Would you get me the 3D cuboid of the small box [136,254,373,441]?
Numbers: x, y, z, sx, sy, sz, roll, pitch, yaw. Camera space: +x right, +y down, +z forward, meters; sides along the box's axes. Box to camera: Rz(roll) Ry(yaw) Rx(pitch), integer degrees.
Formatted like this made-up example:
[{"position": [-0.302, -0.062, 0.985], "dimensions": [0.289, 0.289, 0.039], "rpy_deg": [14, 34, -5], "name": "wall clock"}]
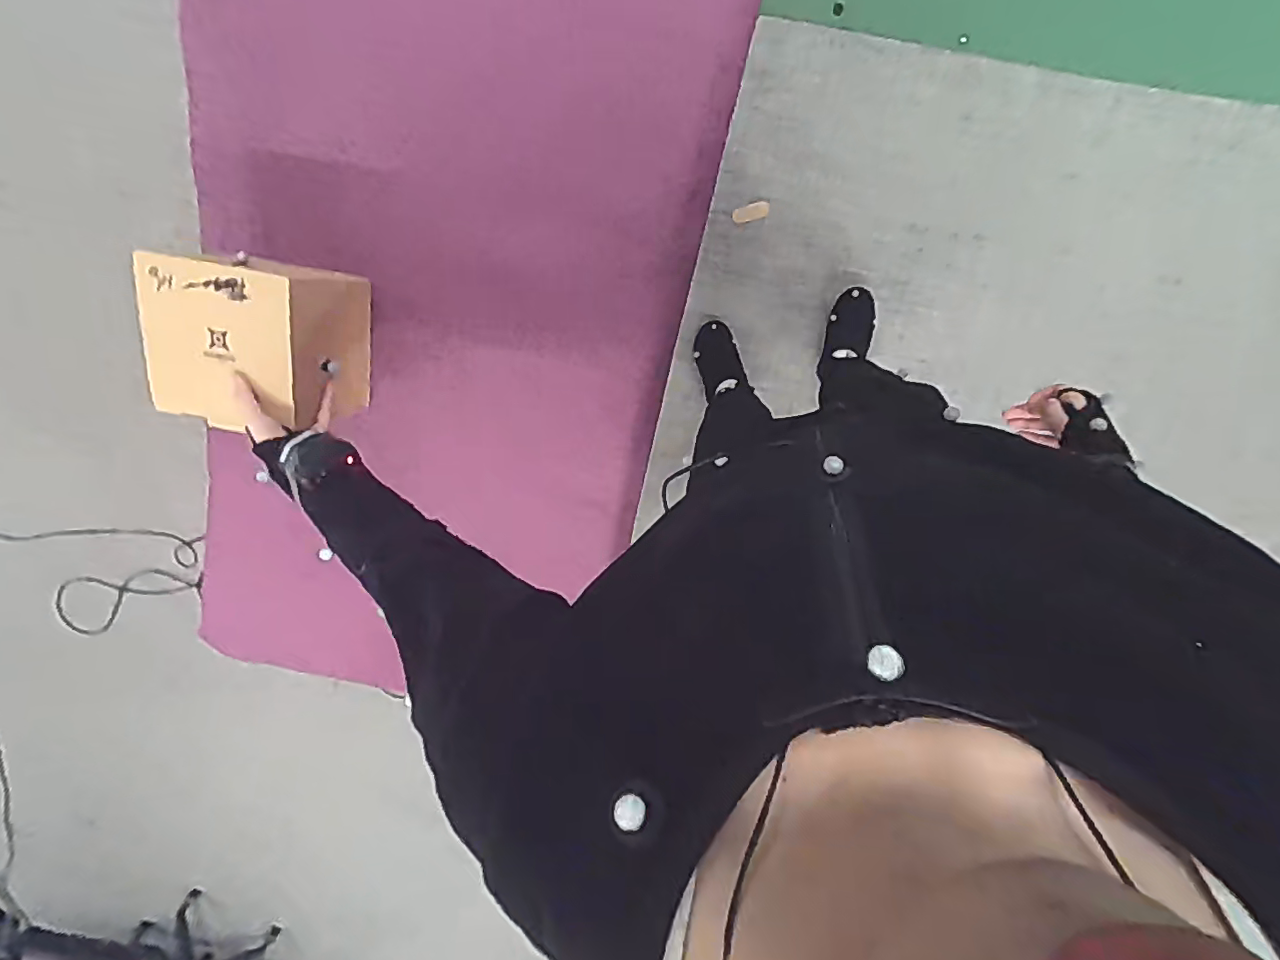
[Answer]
[{"position": [-0.447, -0.166, 0.659], "dimensions": [0.168, 0.176, 0.179], "rpy_deg": [10, 110, -1], "name": "small box"}]
